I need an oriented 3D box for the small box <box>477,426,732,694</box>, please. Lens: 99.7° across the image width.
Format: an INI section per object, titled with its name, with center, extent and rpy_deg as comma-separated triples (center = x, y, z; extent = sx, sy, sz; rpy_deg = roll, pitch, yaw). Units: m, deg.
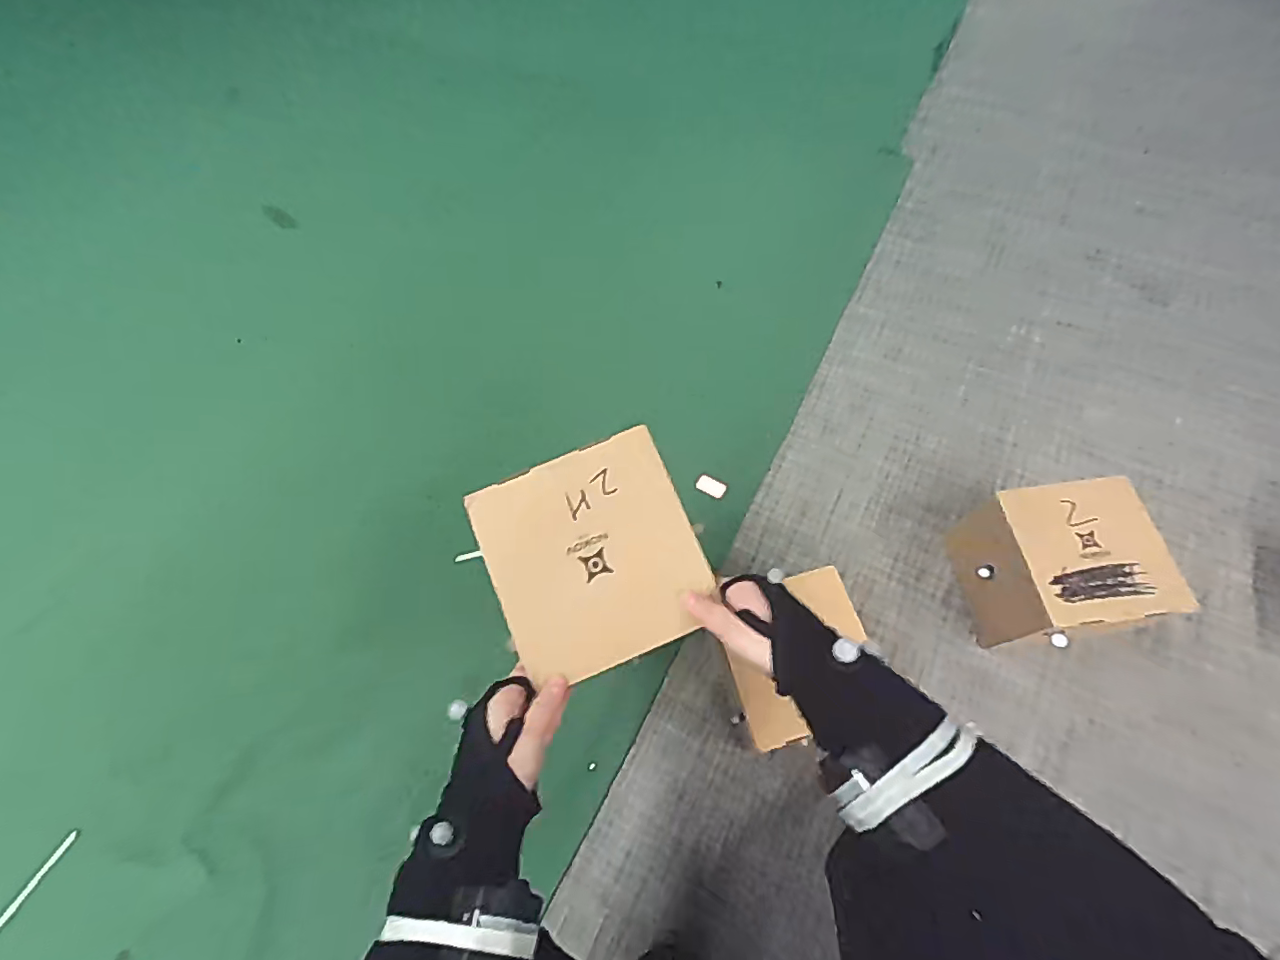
[small box]
center = -0.029, 0.076, 0.519
extent = 0.168, 0.176, 0.179
rpy_deg = -23, 78, -4
